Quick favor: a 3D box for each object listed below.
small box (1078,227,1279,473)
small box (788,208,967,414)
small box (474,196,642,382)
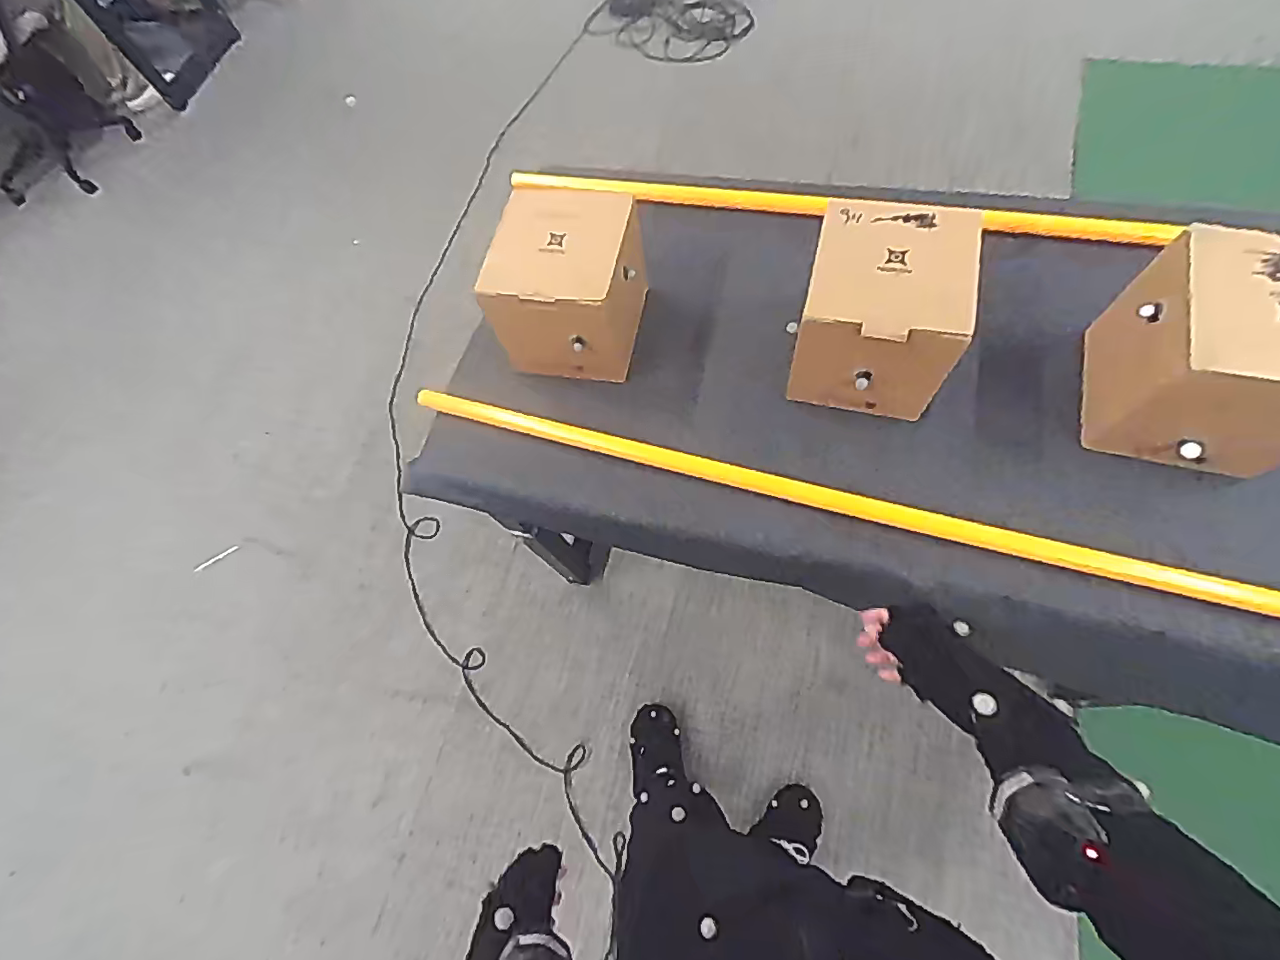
[{"bbox_3d":[0.606,-0.131,0.574,0.168,0.176,0.179,13,70,14],"label":"small box"},{"bbox_3d":[0.277,-0.199,0.658,0.168,0.176,0.179,8,67,14],"label":"small box"},{"bbox_3d":[-0.096,-0.253,0.736,0.168,0.176,0.179,7,66,10],"label":"small box"}]
